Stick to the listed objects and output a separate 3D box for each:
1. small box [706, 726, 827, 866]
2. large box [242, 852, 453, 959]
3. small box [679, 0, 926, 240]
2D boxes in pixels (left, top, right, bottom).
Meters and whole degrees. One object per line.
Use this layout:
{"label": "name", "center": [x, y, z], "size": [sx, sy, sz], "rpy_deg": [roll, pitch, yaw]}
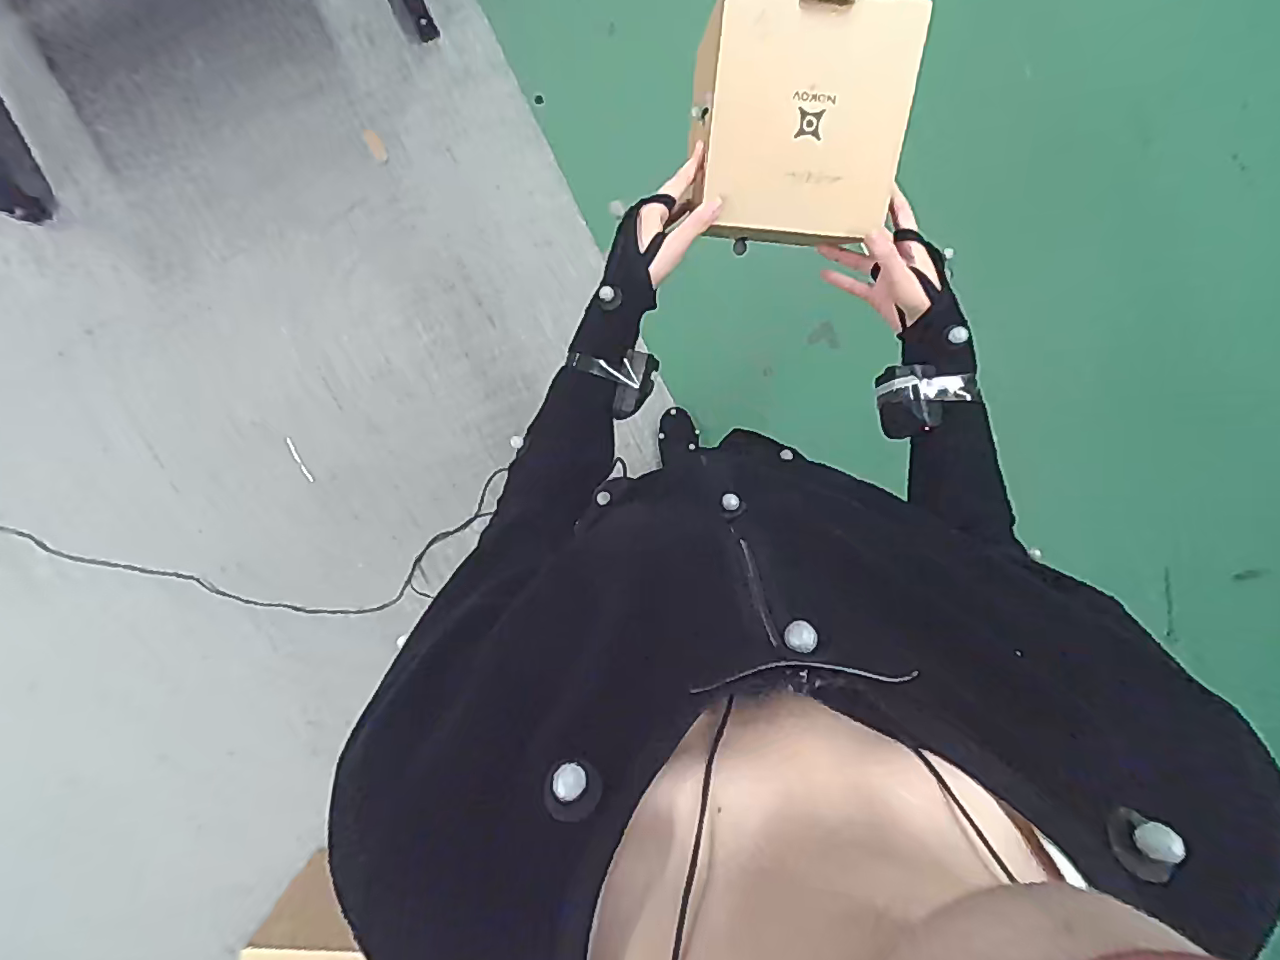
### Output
{"label": "small box", "center": [0.260, 0.663, 1.156], "size": [0.179, 0.176, 0.168], "rpy_deg": [26, 93, -3]}
{"label": "large box", "center": [-0.741, 1.241, 1.424], "size": [0.408, 0.320, 0.320], "rpy_deg": [4, 93, 0]}
{"label": "small box", "center": [0.131, -0.332, 0.512], "size": [0.168, 0.176, 0.179], "rpy_deg": [3, 112, -3]}
